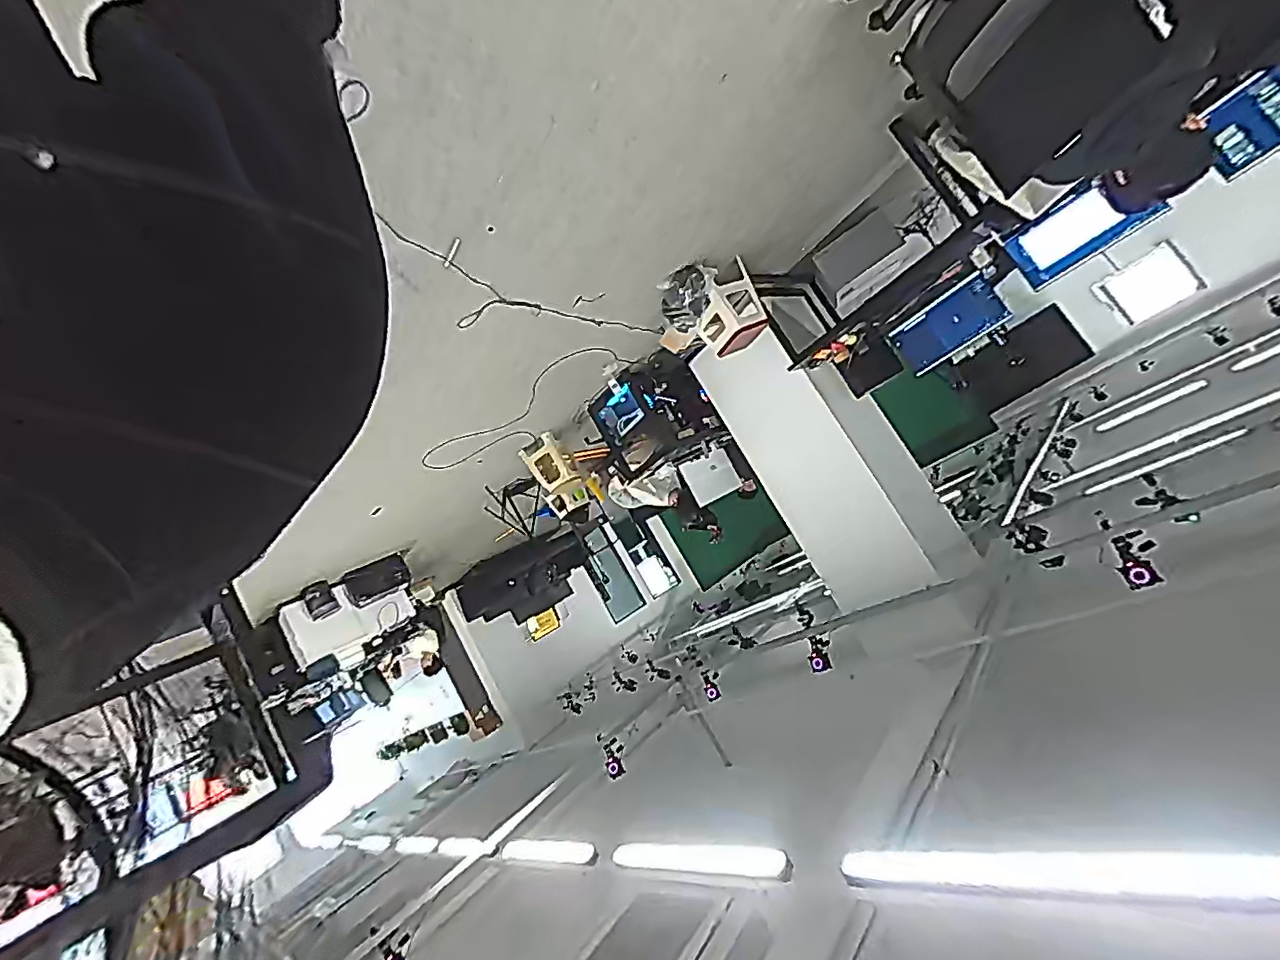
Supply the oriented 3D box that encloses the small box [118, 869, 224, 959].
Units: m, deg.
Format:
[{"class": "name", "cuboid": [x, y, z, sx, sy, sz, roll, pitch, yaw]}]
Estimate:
[{"class": "small box", "cuboid": [-1.220, 1.149, 1.404, 0.179, 0.176, 0.168, -35, 171, 40]}]
